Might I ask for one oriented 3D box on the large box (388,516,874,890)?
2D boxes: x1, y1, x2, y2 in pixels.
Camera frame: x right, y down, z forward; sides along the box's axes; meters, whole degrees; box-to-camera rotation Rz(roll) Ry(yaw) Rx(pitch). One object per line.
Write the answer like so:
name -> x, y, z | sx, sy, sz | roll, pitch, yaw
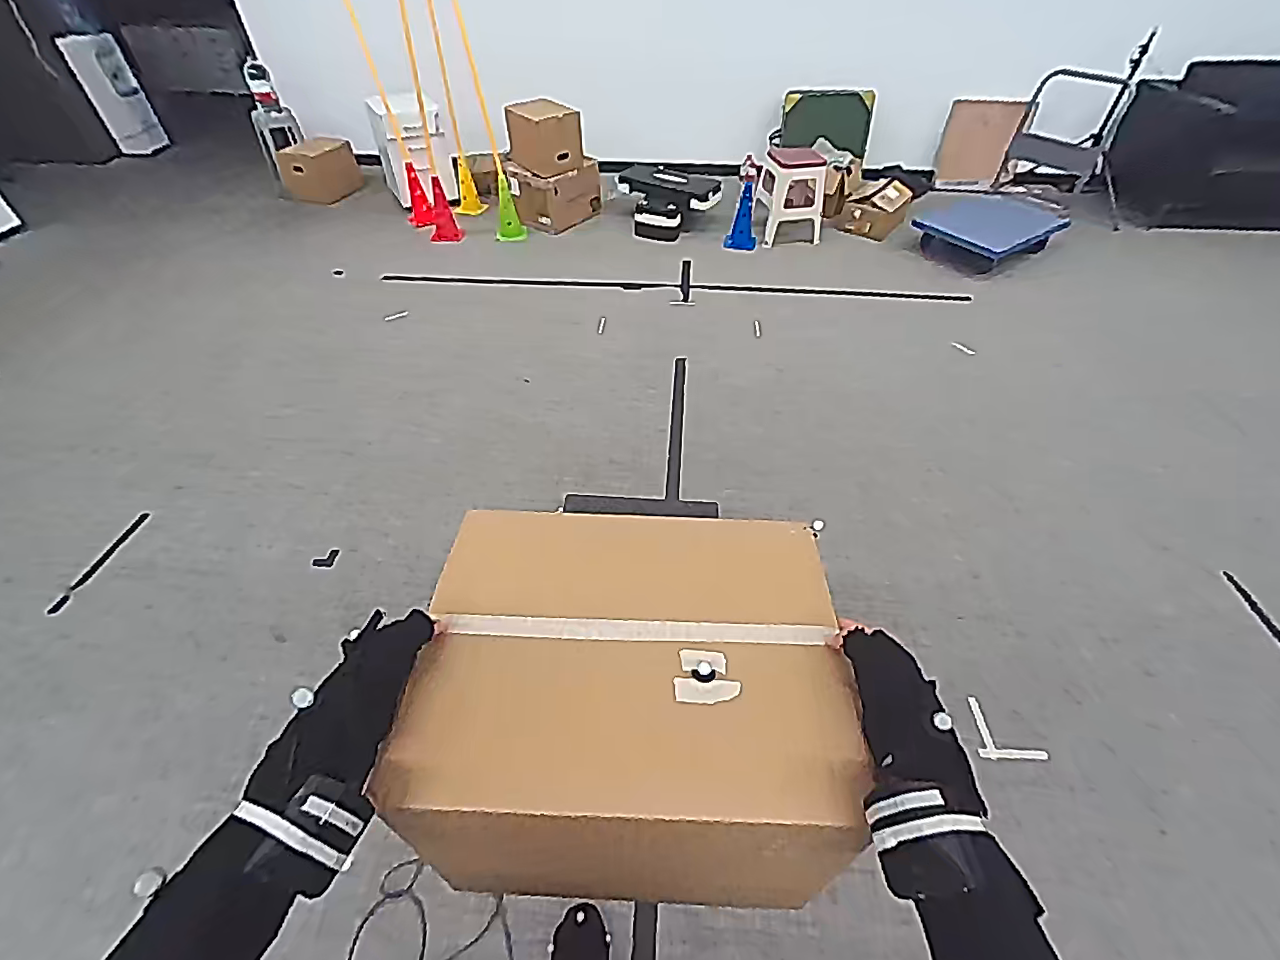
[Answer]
large box -> -0.008, 0.261, 0.642 | 0.408, 0.320, 0.320 | 2, 43, 1
